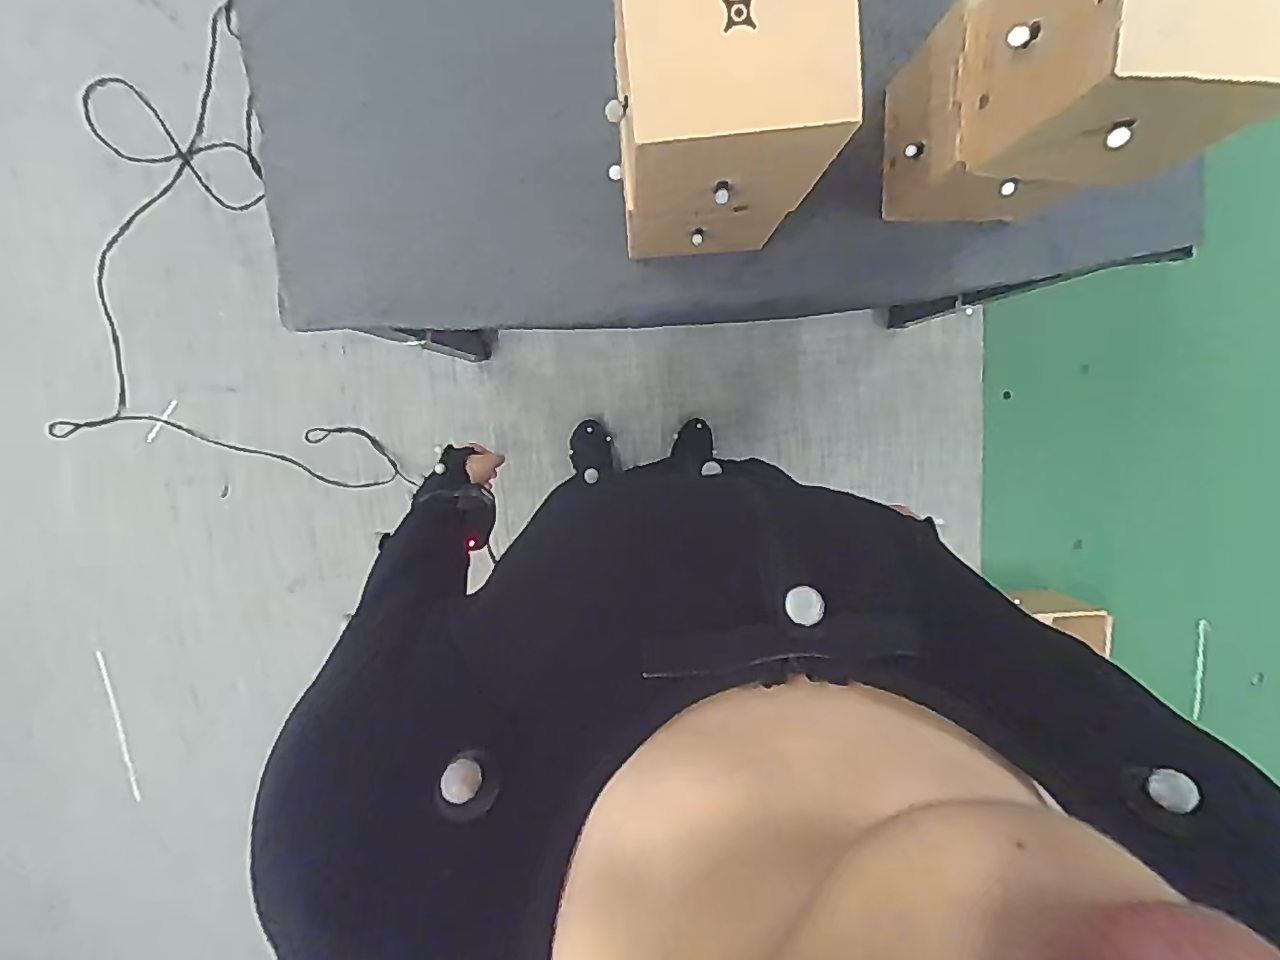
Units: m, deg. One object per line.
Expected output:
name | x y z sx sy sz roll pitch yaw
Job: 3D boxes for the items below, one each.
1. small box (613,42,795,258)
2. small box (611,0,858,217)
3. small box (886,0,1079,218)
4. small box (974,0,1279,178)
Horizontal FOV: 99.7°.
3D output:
small box | 0.064 -0.362 0.609 0.179 0.176 0.168 -4 96 1
small box | 0.064 -0.335 0.447 0.168 0.176 0.179 -6 96 0
small box | 0.400 -0.410 0.611 0.179 0.176 0.168 -2 98 -2
small box | 0.416 -0.373 0.451 0.179 0.176 0.168 2 97 -1
